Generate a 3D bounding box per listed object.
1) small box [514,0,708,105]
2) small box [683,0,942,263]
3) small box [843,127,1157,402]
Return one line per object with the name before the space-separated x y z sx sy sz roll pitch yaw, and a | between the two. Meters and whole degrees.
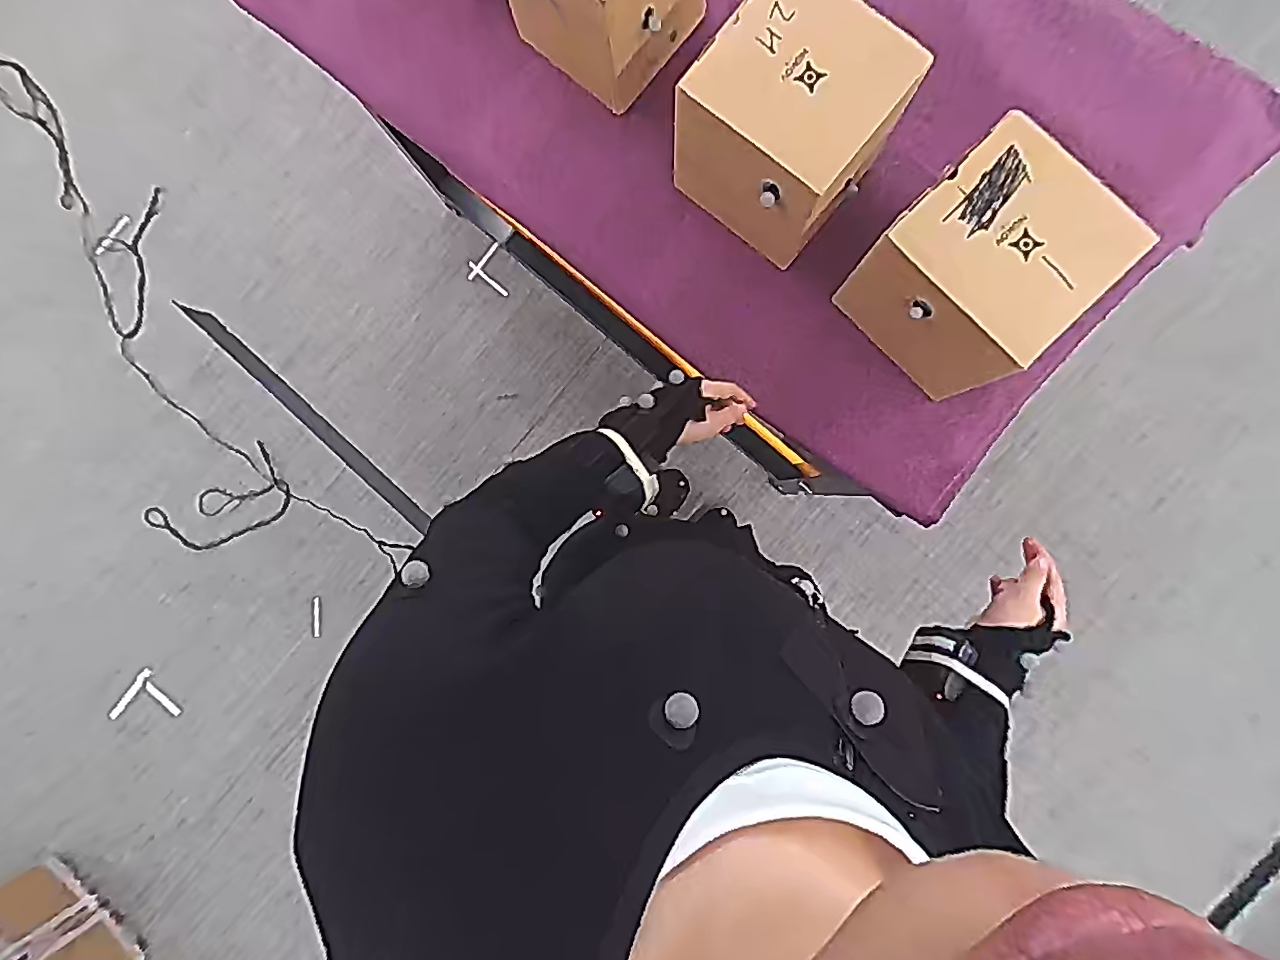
small box | -0.033 -0.561 0.589 0.179 0.176 0.168 41 91 2
small box | 0.163 -0.362 0.576 0.179 0.176 0.168 40 90 2
small box | 0.349 -0.203 0.567 0.168 0.176 0.179 -44 88 0
